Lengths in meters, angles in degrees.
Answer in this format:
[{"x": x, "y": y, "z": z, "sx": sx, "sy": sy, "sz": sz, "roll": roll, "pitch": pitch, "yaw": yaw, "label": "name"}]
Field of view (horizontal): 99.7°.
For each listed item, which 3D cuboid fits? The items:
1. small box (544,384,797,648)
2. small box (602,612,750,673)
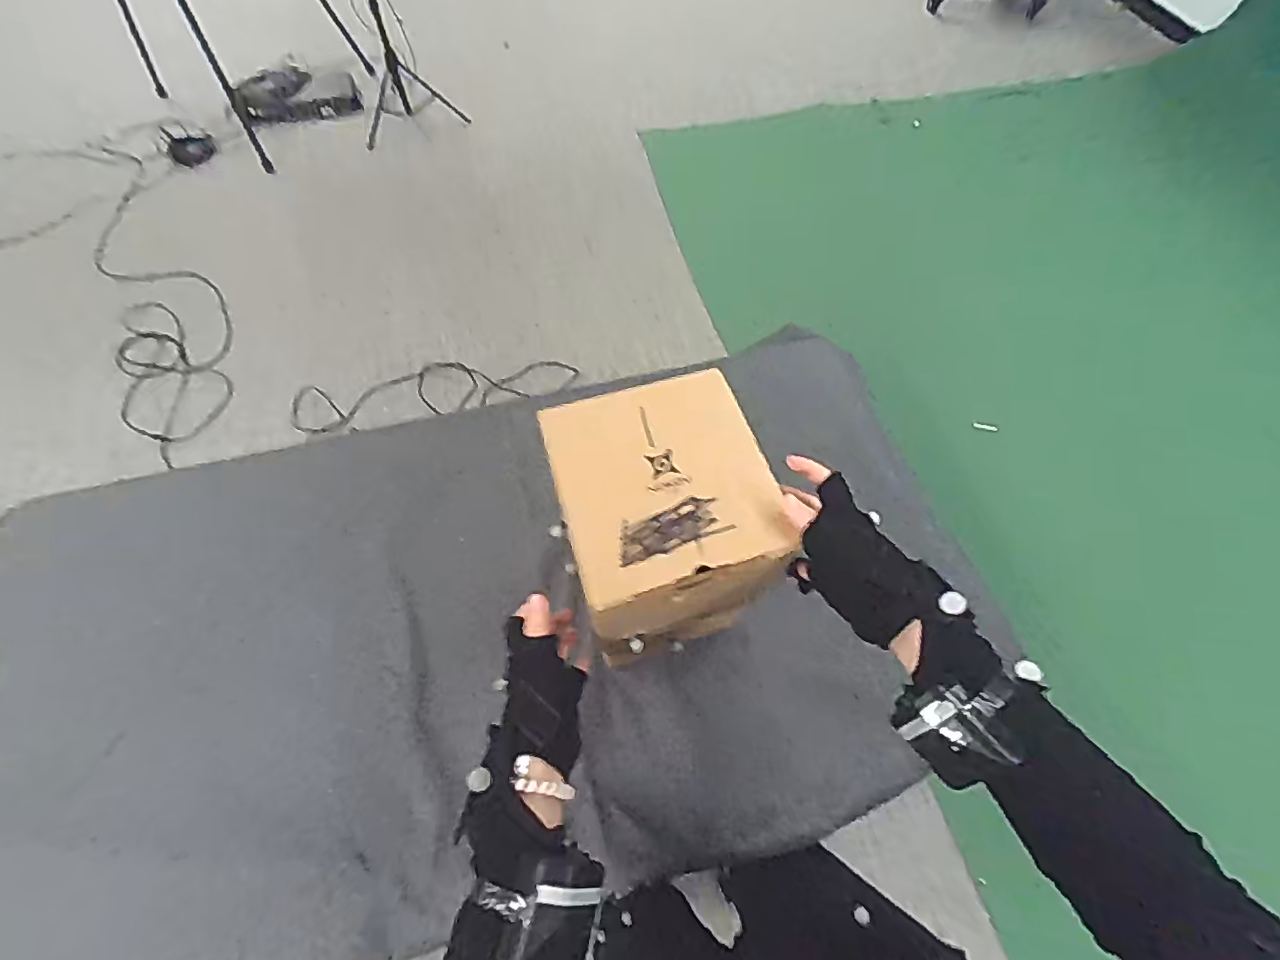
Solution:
[{"x": 0.019, "y": 0.044, "z": 0.503, "sx": 0.168, "sy": 0.176, "sz": 0.179, "roll": -15, "pitch": 62, "yaw": -9, "label": "small box"}, {"x": 0.018, "y": 0.113, "z": 0.655, "sx": 0.168, "sy": 0.176, "sz": 0.179, "roll": -16, "pitch": 63, "yaw": -9, "label": "small box"}]
